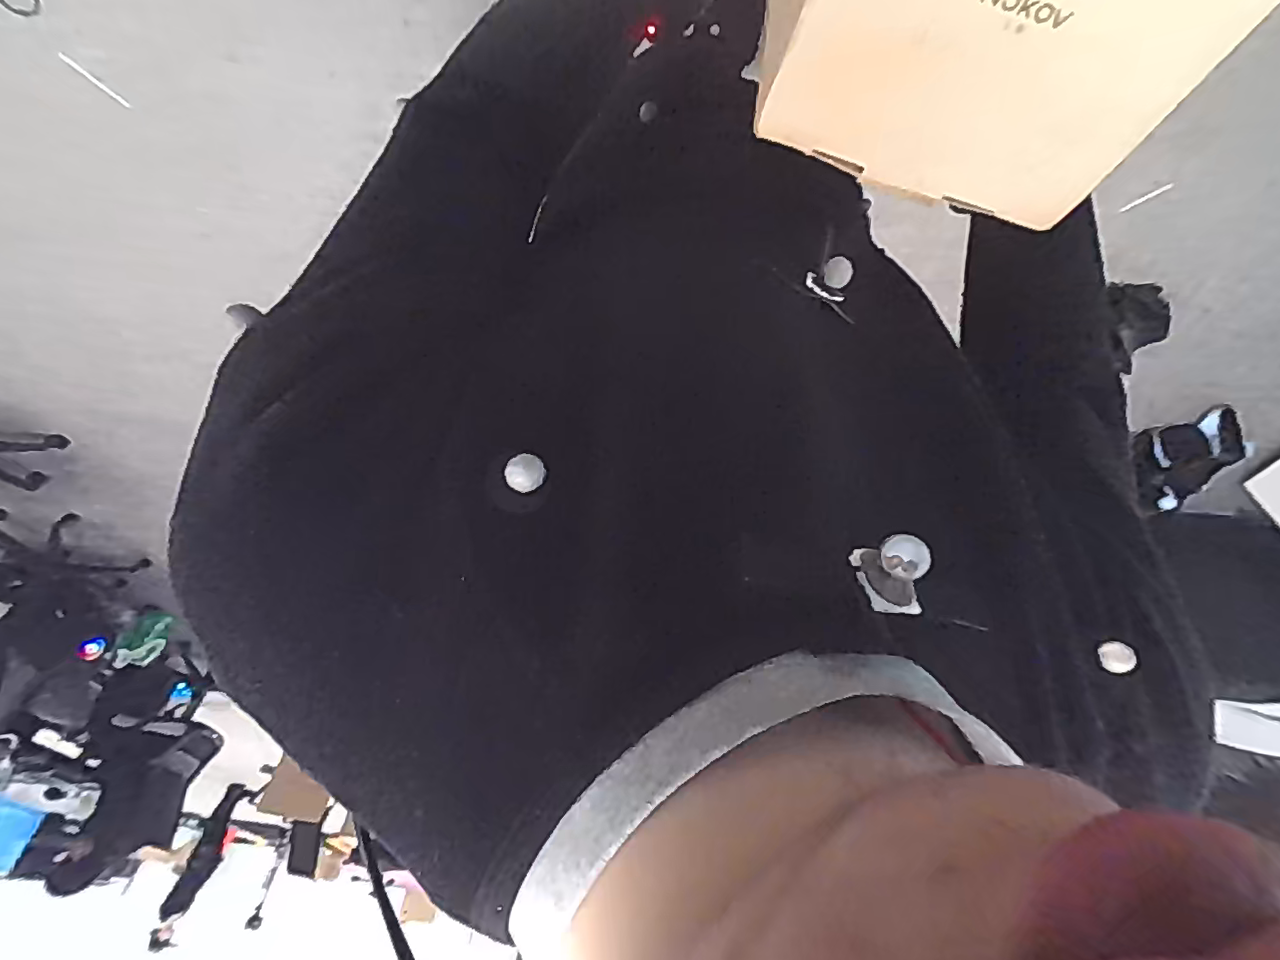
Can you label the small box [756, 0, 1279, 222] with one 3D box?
[{"bbox_3d":[0.167,-0.261,0.236,0.168,0.176,0.179,15,152,-5],"label":"small box"}]
